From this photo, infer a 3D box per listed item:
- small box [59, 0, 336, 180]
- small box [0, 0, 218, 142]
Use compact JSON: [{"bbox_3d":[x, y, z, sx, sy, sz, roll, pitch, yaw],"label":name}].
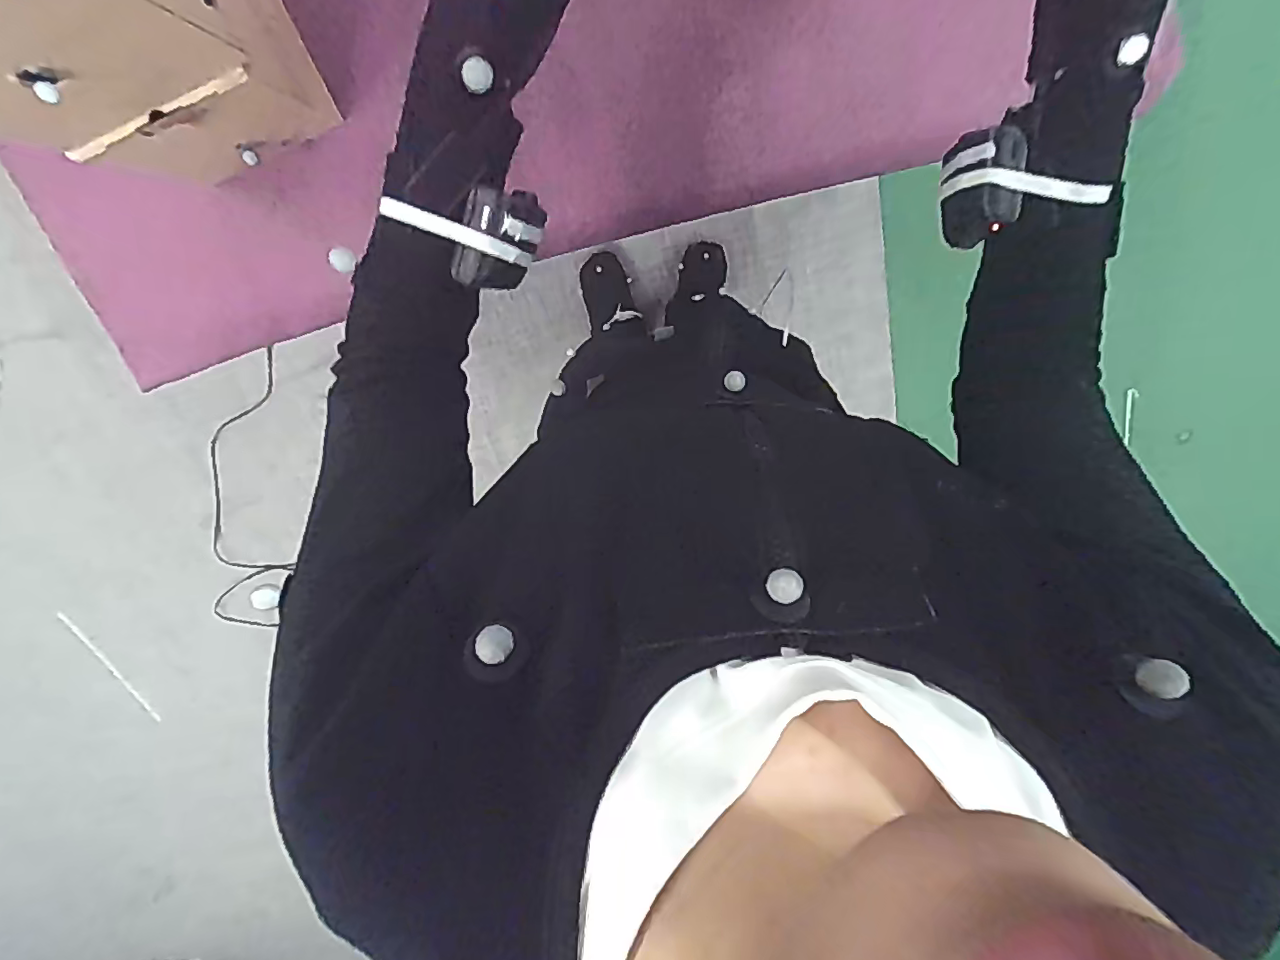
[{"bbox_3d":[-0.412,-0.388,0.467,0.168,0.176,0.179,-20,113,6],"label":"small box"},{"bbox_3d":[-0.399,-0.327,0.312,0.179,0.176,0.168,-19,111,4],"label":"small box"}]
